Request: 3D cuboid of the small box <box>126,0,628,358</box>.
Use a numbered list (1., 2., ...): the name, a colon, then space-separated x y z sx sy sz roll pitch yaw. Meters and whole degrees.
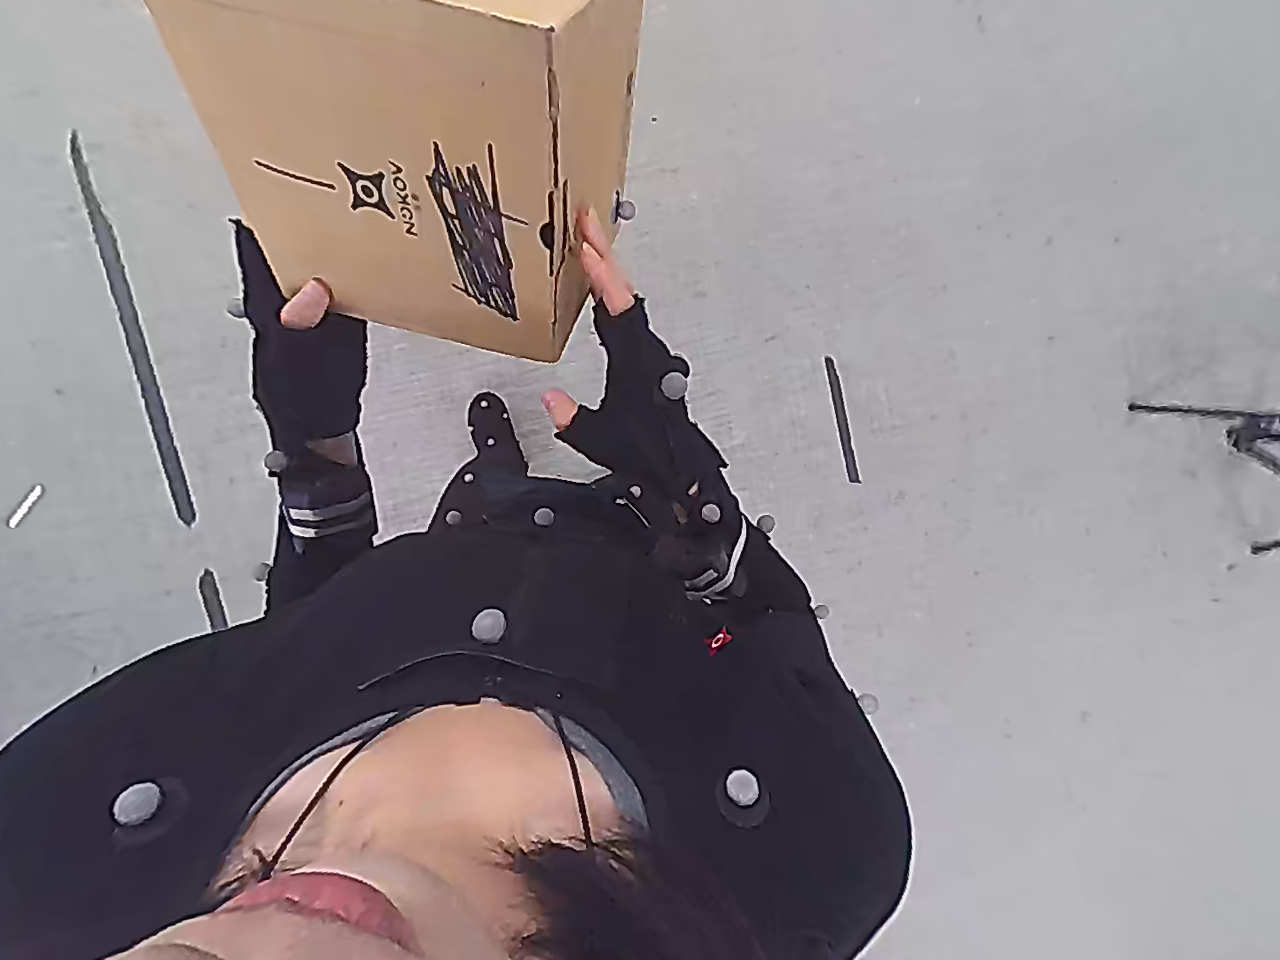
1. small box: -0.111 -0.202 0.306 0.179 0.168 0.176 14 53 2
